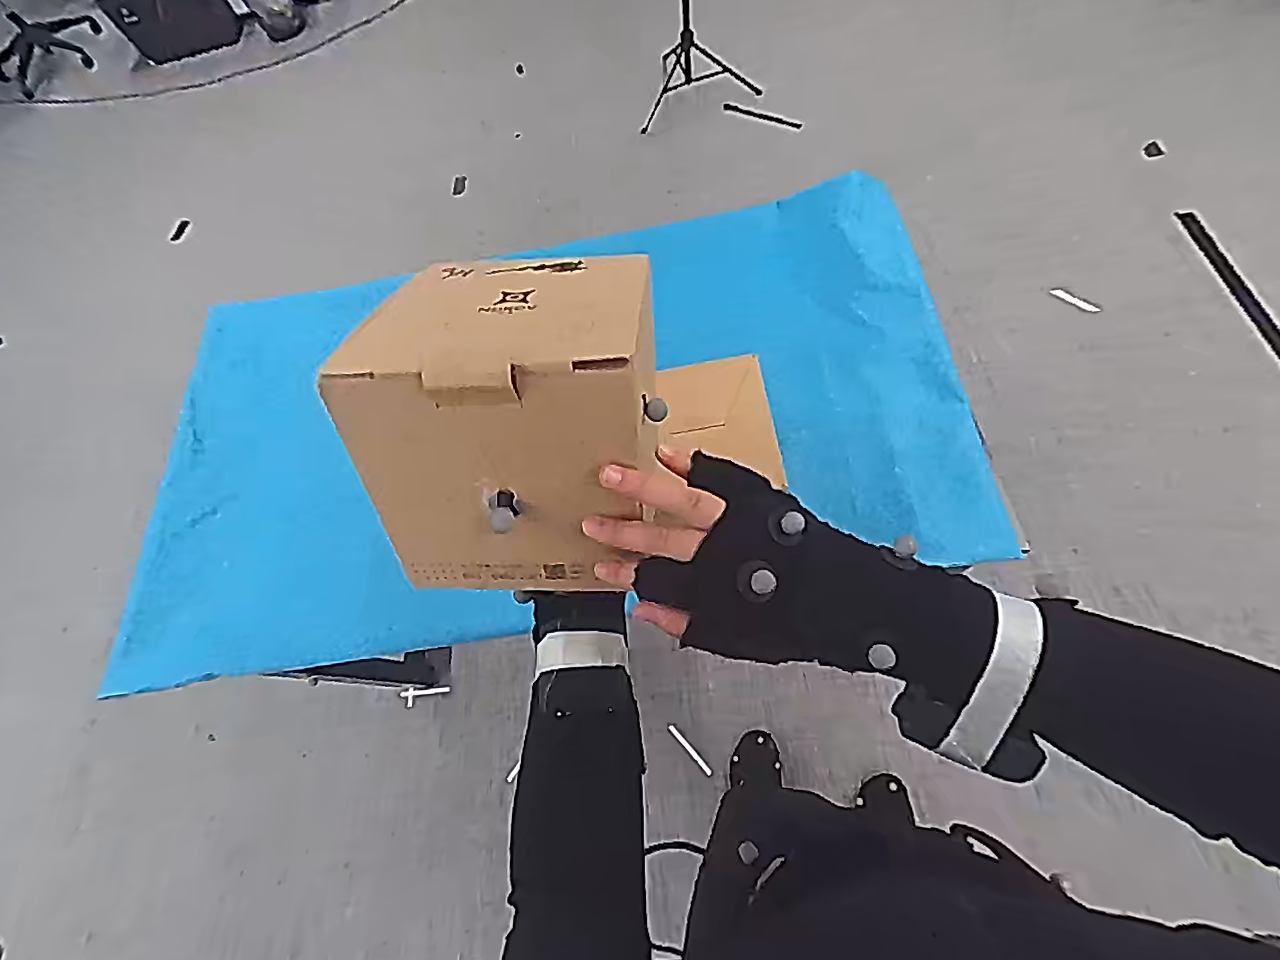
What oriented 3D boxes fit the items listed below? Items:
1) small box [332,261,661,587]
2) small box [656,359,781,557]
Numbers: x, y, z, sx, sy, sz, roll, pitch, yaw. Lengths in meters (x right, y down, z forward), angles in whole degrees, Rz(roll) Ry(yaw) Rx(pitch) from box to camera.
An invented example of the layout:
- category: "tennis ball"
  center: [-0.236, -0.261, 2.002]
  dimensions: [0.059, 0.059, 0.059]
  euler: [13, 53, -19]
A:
- category: "small box"
  center: [-0.071, -0.039, 0.388]
  dimensions: [0.168, 0.176, 0.179]
  euler: [0, 41, 4]
- category: "small box"
  center: [0.077, -0.021, 0.678]
  dimensions: [0.168, 0.176, 0.179]
  euler: [-10, 65, 5]
